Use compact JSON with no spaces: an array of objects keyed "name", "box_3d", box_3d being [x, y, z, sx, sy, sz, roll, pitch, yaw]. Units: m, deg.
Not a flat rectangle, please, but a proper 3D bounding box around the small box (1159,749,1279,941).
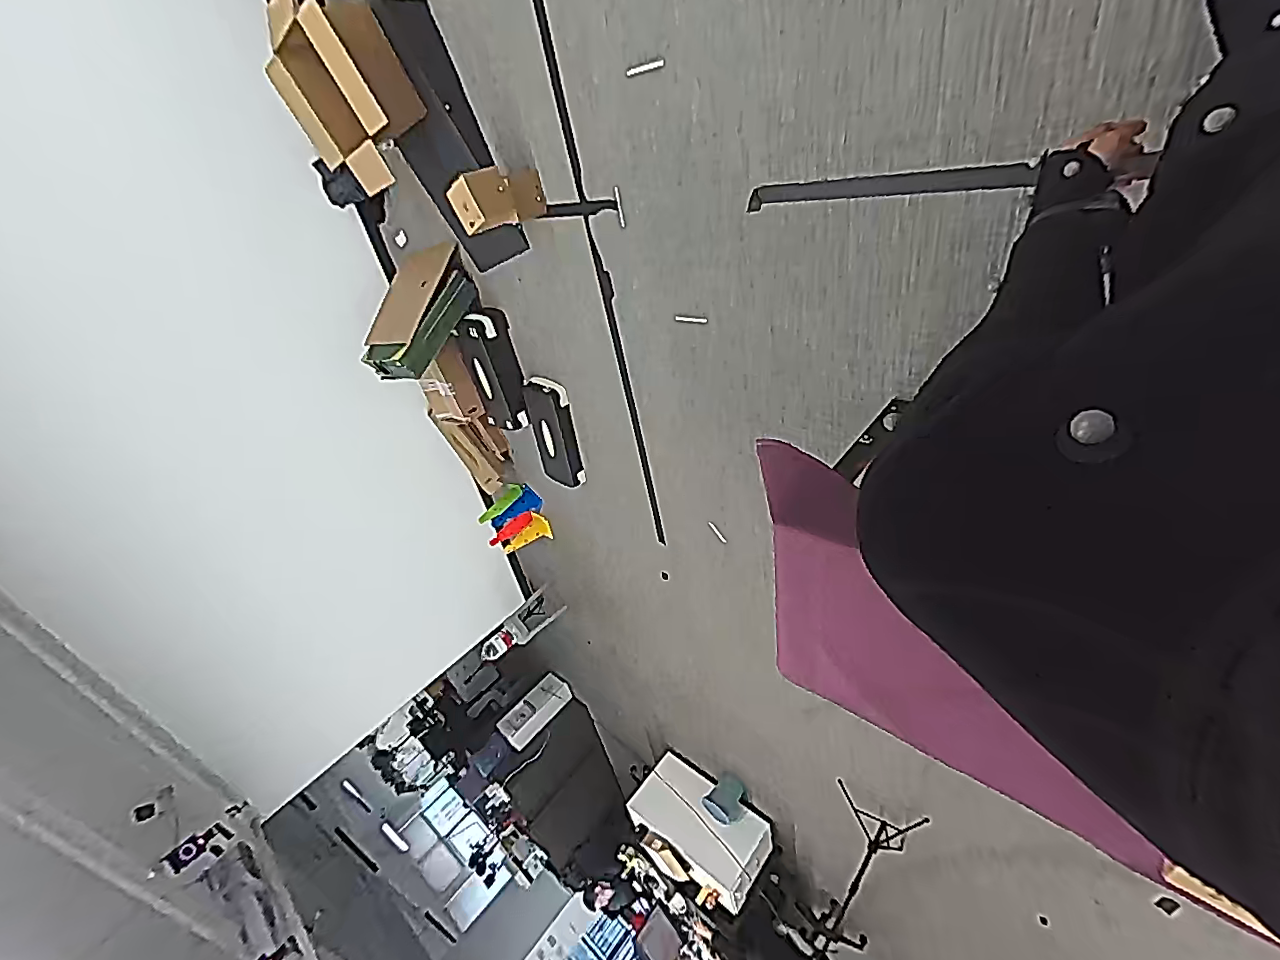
[{"name":"small box","box_3d":[0.959,0.565,0.844,0.168,0.176,0.179,22,136,37]}]
